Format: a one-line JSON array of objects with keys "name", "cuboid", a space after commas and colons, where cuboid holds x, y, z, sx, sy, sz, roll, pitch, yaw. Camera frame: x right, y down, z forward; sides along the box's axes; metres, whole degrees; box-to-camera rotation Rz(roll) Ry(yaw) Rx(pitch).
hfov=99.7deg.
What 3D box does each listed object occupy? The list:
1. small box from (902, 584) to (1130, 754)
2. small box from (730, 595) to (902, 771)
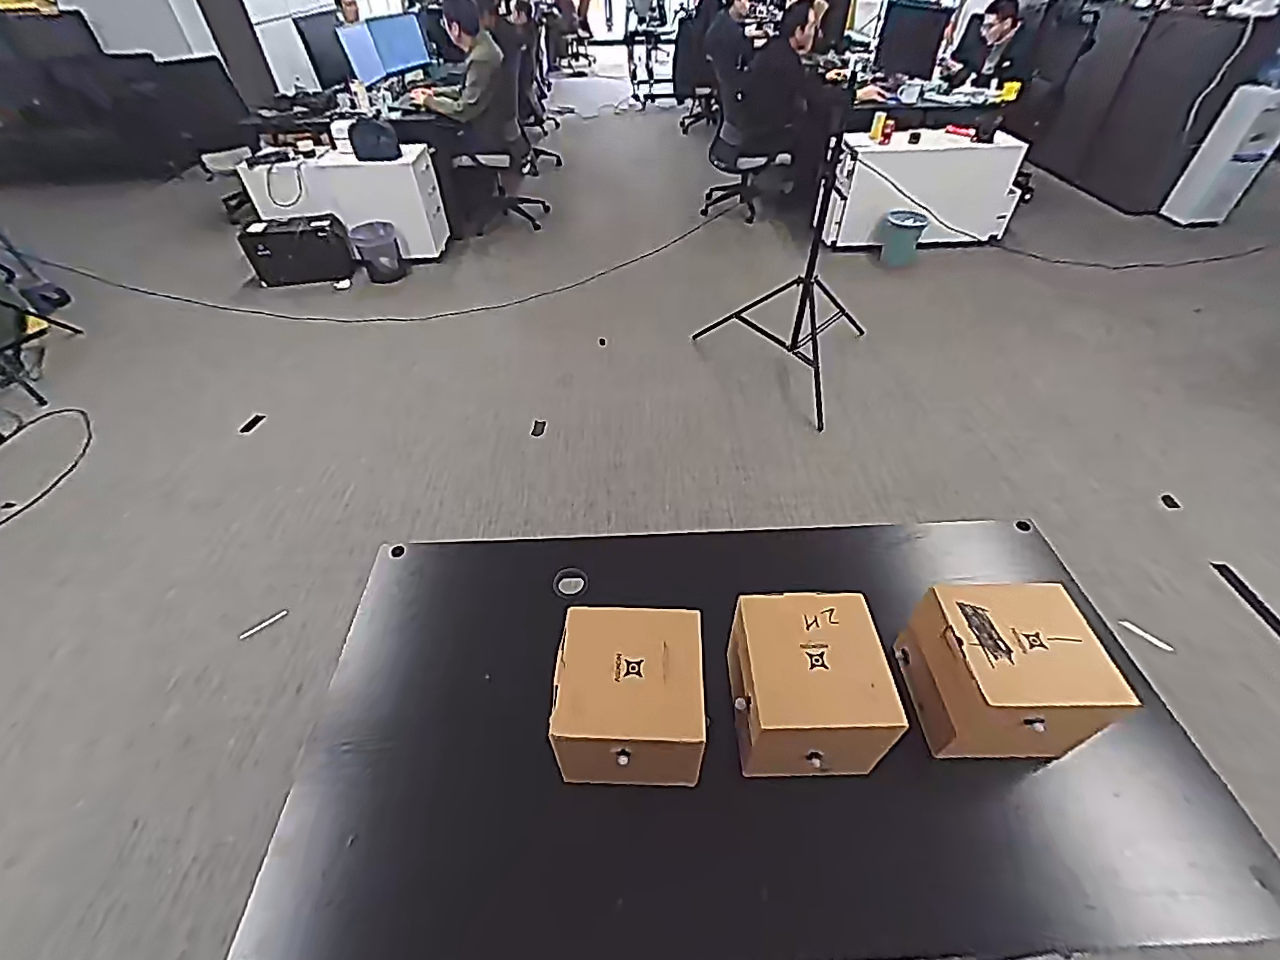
[{"name": "small box", "cuboid": [0.478, 0.257, 0.731, 0.179, 0.176, 0.168, -1, 45, 0]}, {"name": "small box", "cuboid": [0.218, 0.274, 0.722, 0.168, 0.176, 0.179, -1, 45, 0]}]
